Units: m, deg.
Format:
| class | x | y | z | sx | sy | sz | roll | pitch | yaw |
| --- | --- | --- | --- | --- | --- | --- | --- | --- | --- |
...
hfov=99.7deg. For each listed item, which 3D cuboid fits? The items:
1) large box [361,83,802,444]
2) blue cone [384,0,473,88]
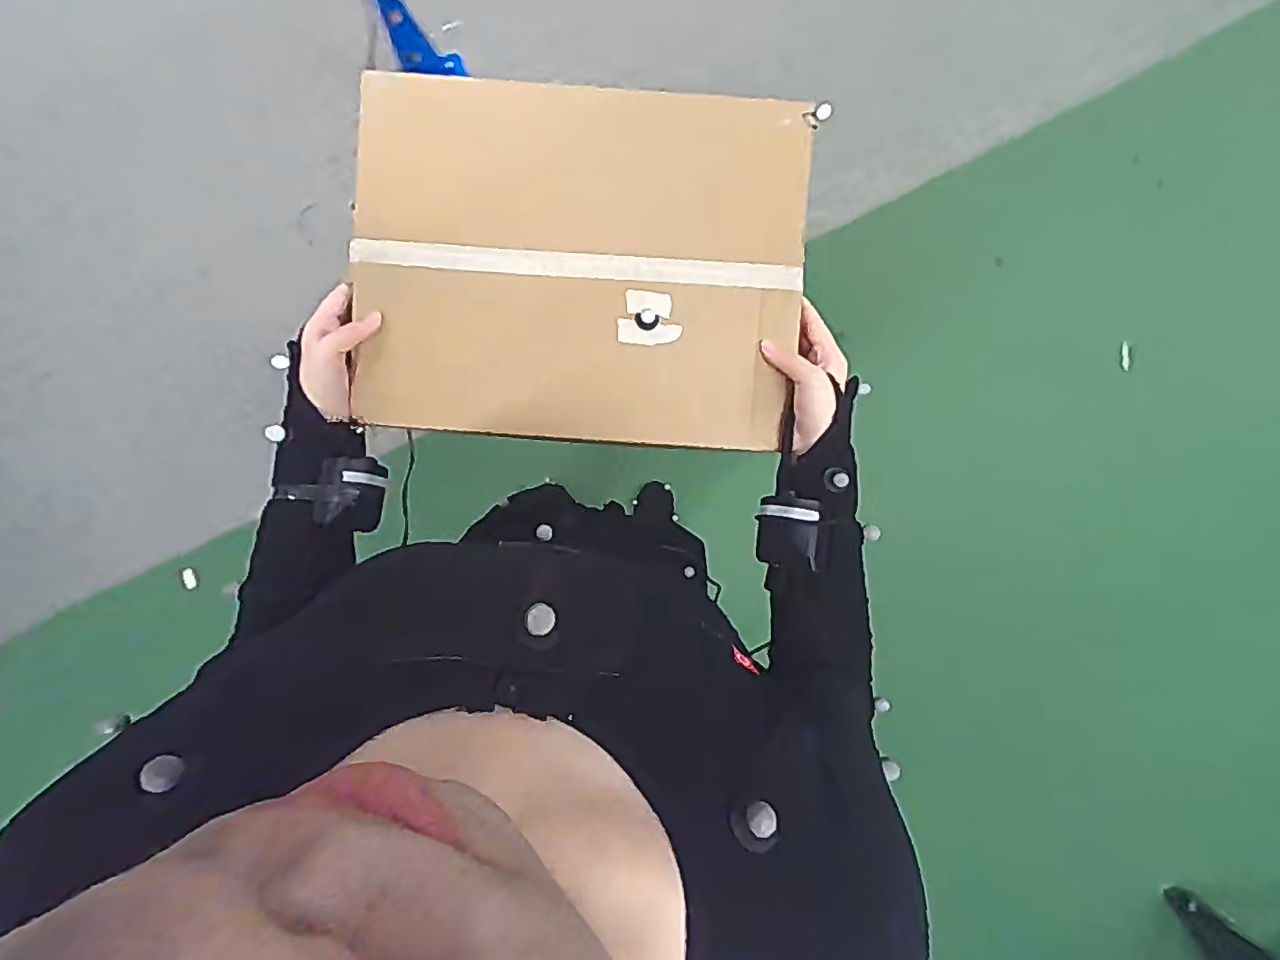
| class | x | y | z | sx | sy | sz | roll | pitch | yaw |
| --- | --- | --- | --- | --- | --- | --- | --- | --- | --- |
| large box | -0.060 | -0.206 | 0.646 | 0.408 | 0.320 | 0.320 | 3 | 94 | -1 |
| blue cone | -0.555 | -1.078 | 1.356 | 0.193 | 0.380 | 0.192 | -17 | 90 | 0 |
